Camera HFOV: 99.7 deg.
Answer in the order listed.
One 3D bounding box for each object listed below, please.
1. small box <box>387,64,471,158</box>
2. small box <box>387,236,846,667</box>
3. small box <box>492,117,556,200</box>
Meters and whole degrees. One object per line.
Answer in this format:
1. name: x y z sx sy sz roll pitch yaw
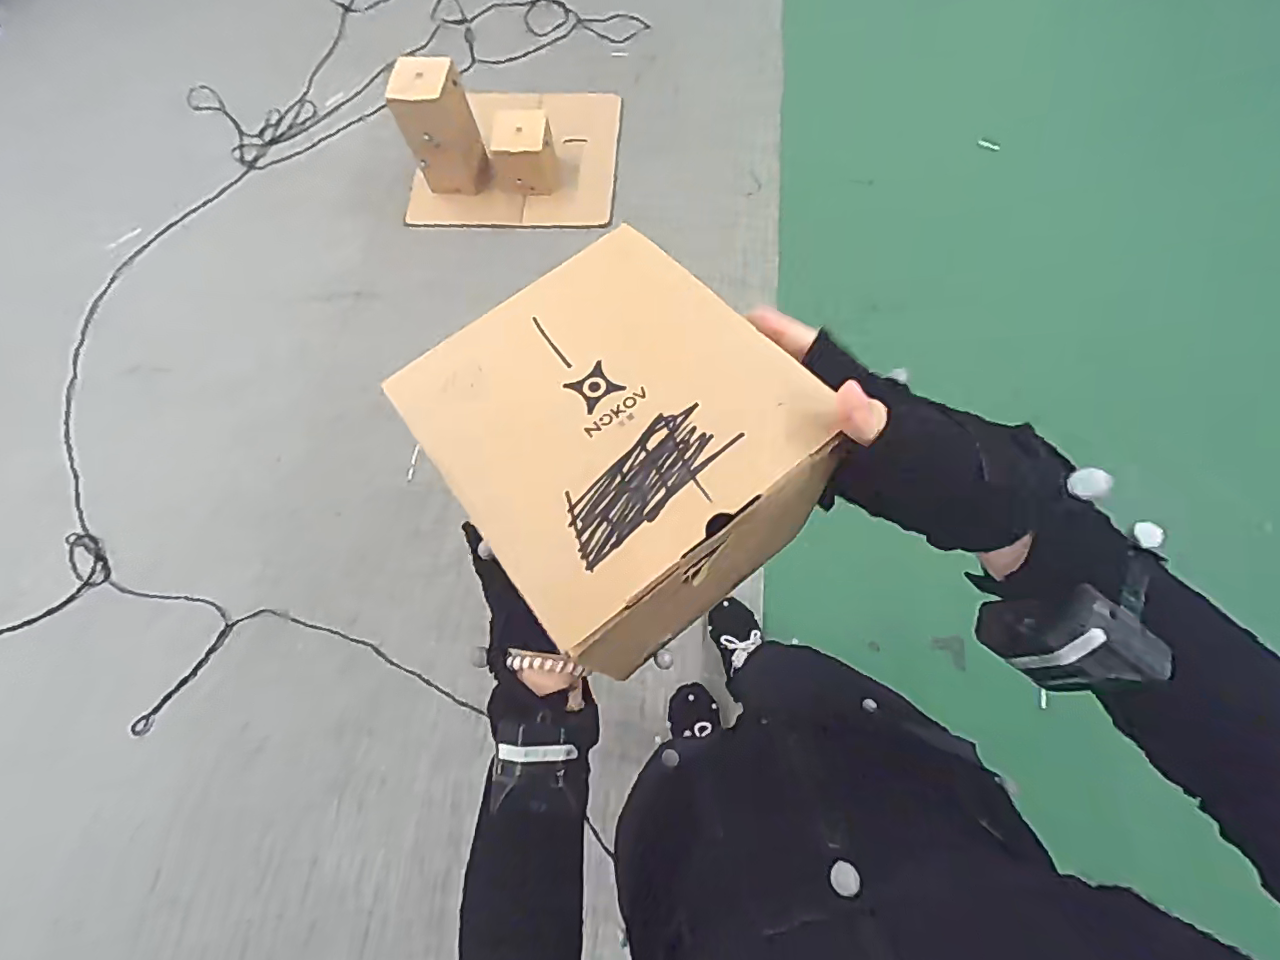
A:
1. small box: -0.630 -1.119 1.642 0.168 0.176 0.179 5 71 6
2. small box: -0.010 -0.002 0.338 0.168 0.176 0.179 -37 67 -12
3. small box: -0.376 -1.060 1.786 0.168 0.176 0.179 1 71 3
